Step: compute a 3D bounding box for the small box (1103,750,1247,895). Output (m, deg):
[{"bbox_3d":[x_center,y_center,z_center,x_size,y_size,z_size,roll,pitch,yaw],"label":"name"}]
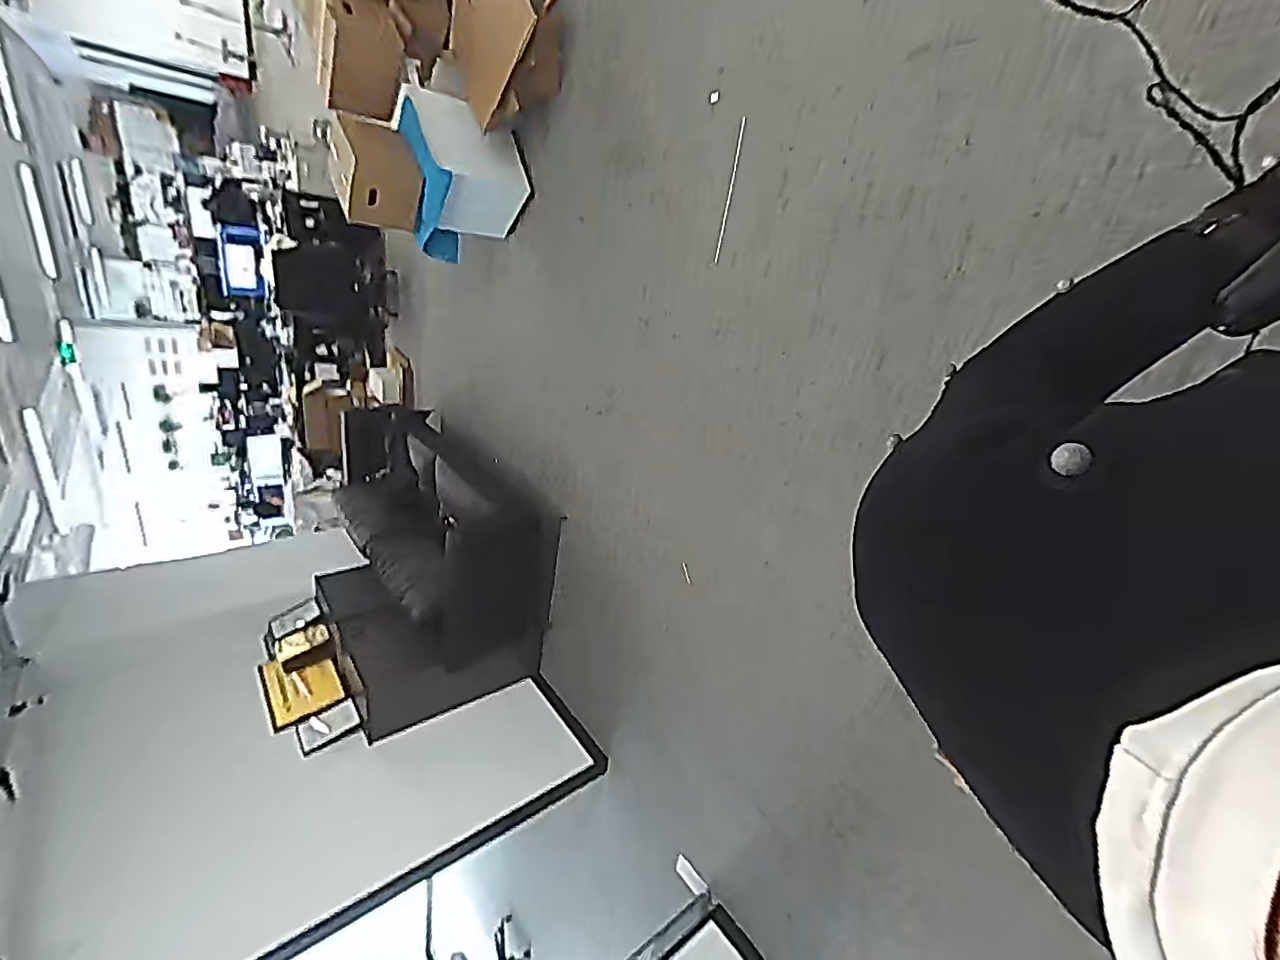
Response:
[{"bbox_3d":[1.170,0.737,1.185,0.168,0.176,0.179,34,122,42],"label":"small box"}]
